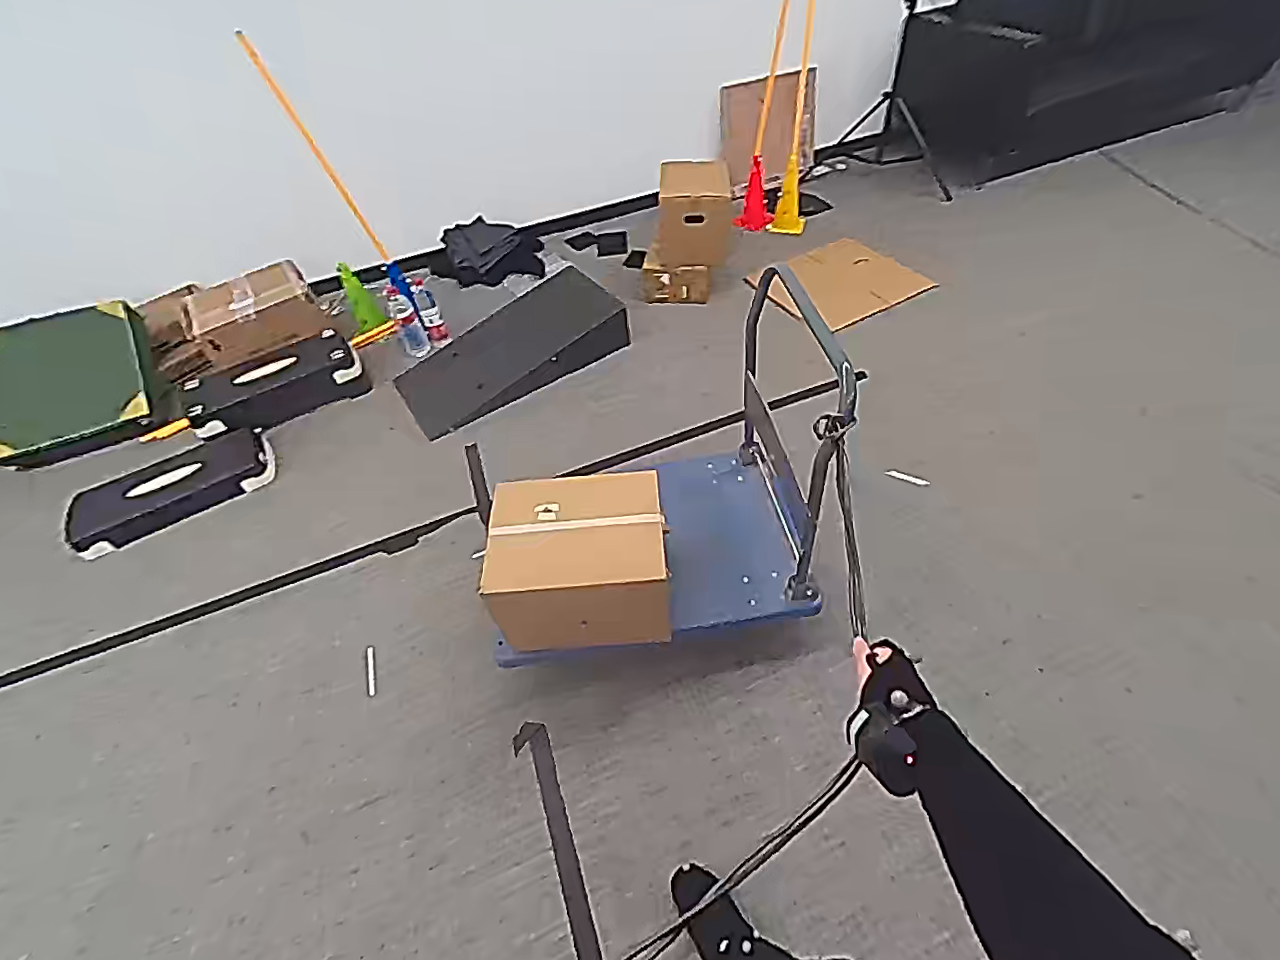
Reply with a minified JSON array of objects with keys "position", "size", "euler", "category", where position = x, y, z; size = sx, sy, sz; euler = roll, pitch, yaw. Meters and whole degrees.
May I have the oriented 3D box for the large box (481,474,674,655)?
[{"position":[-0.134,0.217,1.347],"size":[0.408,0.320,0.320],"euler":[-5,48,2],"category":"large box"}]
